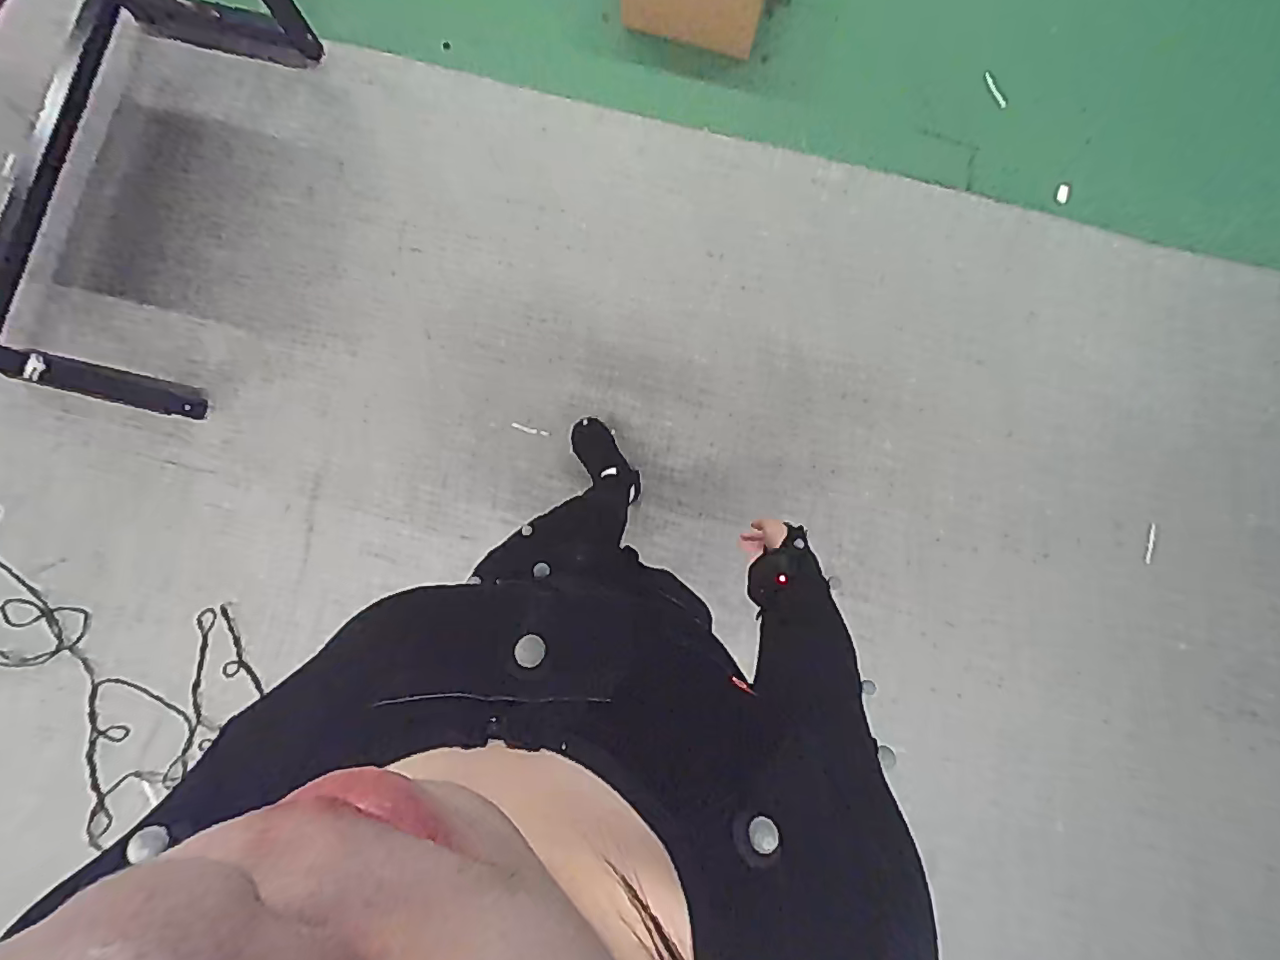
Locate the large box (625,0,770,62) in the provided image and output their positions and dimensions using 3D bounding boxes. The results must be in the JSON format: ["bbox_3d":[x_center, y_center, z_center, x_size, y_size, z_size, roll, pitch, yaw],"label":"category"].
[{"bbox_3d":[0.184,-1.456,1.488,0.408,0.320,0.320,16,85,1],"label":"large box"}]
